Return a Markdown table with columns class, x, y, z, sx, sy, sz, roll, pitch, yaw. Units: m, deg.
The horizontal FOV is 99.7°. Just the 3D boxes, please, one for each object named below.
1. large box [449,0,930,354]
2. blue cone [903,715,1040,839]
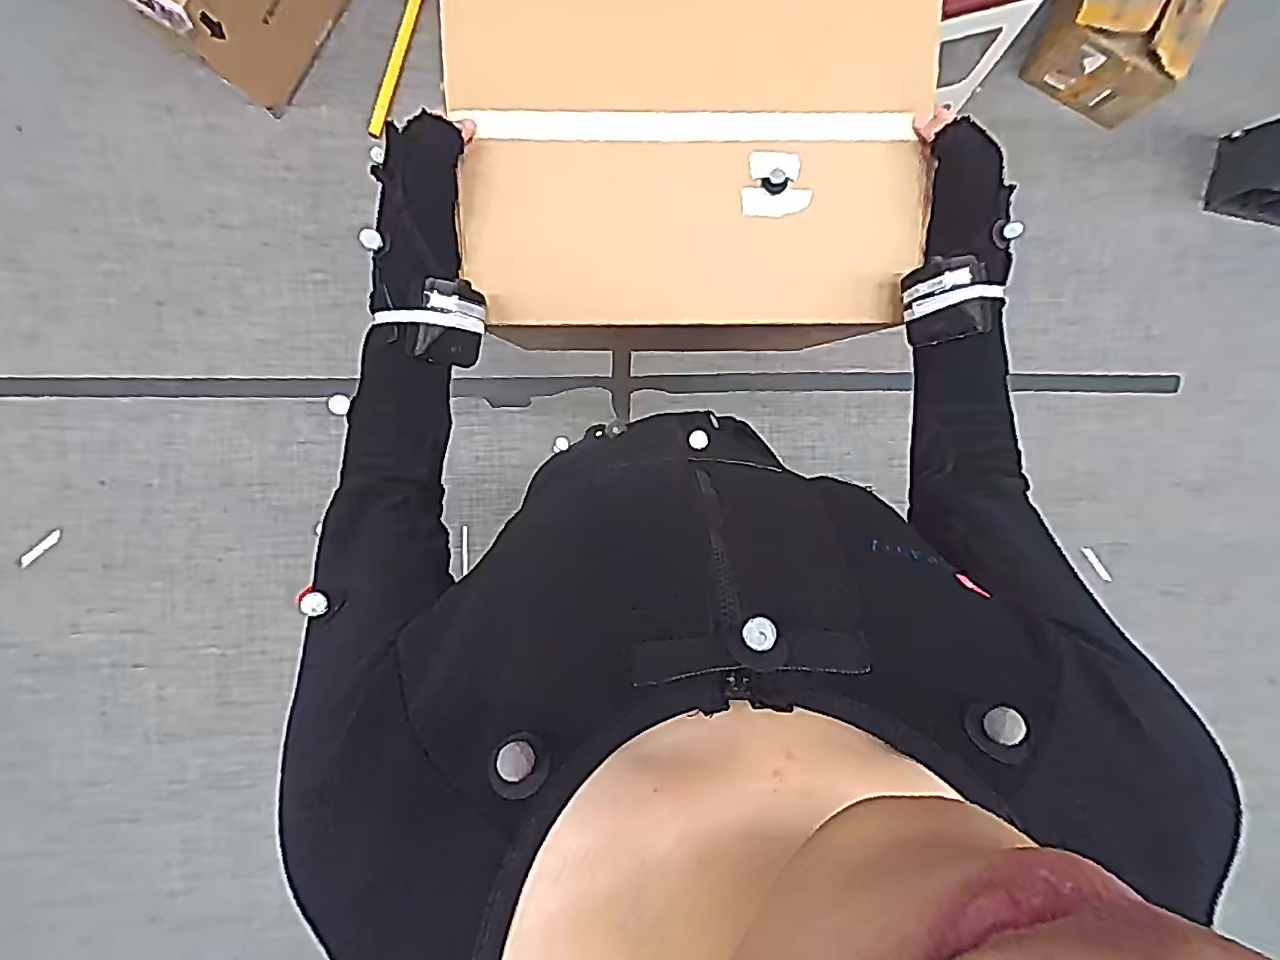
| class | x | y | z | sx | sy | sz | roll | pitch | yaw |
| --- | --- | --- | --- | --- | --- | --- | --- | --- | --- |
| large box | 0.037 | -0.315 | 0.603 | 0.408 | 0.320 | 0.320 | -1 | 99 | -3 |
| blue cone | 0.883 | 0.799 | 1.431 | 0.192 | 0.380 | 0.193 | 3 | 95 | -5 |
